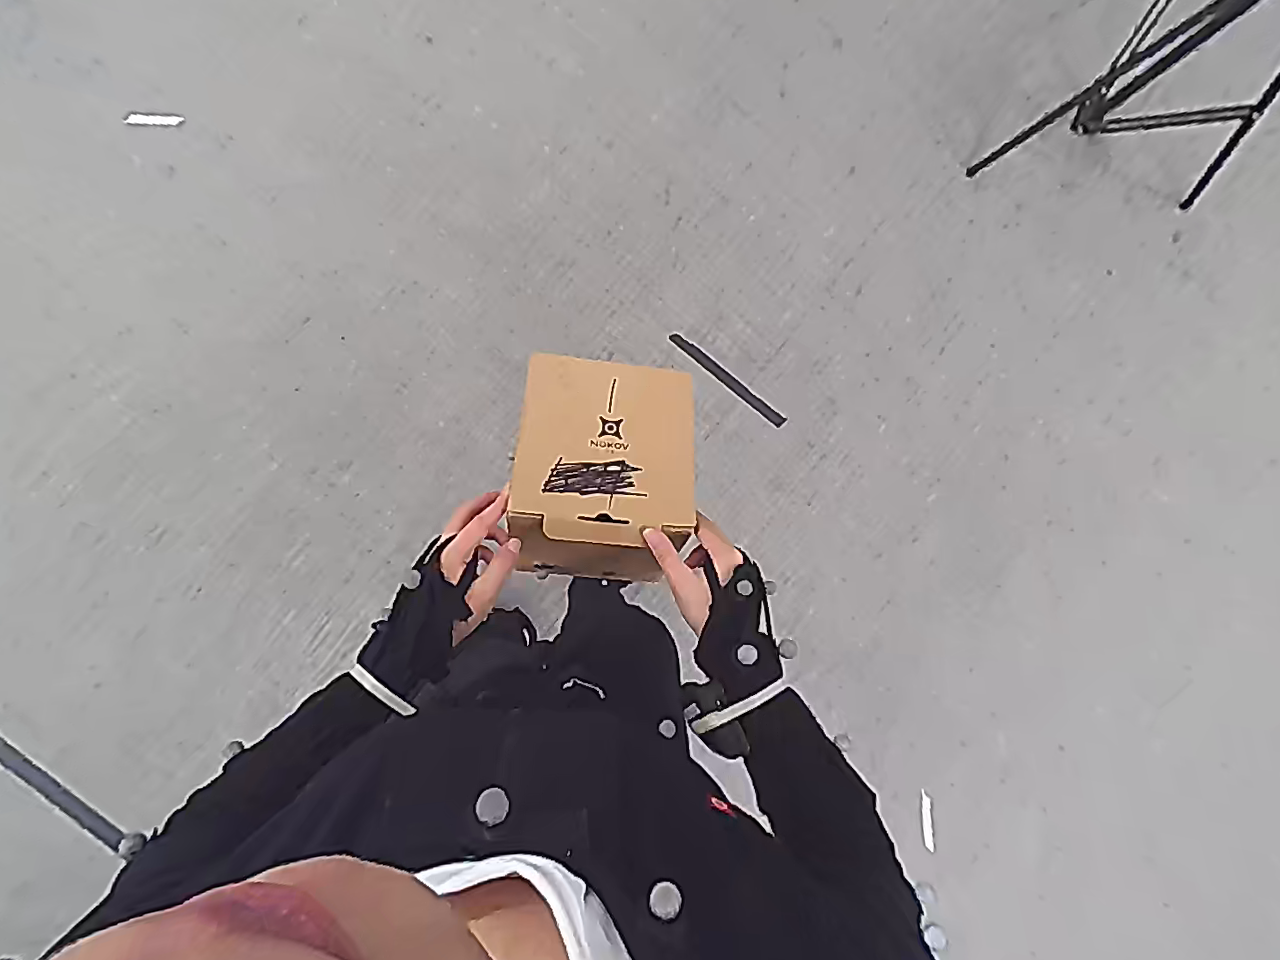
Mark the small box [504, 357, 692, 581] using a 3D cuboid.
[{"bbox_3d":[-0.043,-0.001,0.571,0.168,0.176,0.179,5,62,-7],"label":"small box"}]
